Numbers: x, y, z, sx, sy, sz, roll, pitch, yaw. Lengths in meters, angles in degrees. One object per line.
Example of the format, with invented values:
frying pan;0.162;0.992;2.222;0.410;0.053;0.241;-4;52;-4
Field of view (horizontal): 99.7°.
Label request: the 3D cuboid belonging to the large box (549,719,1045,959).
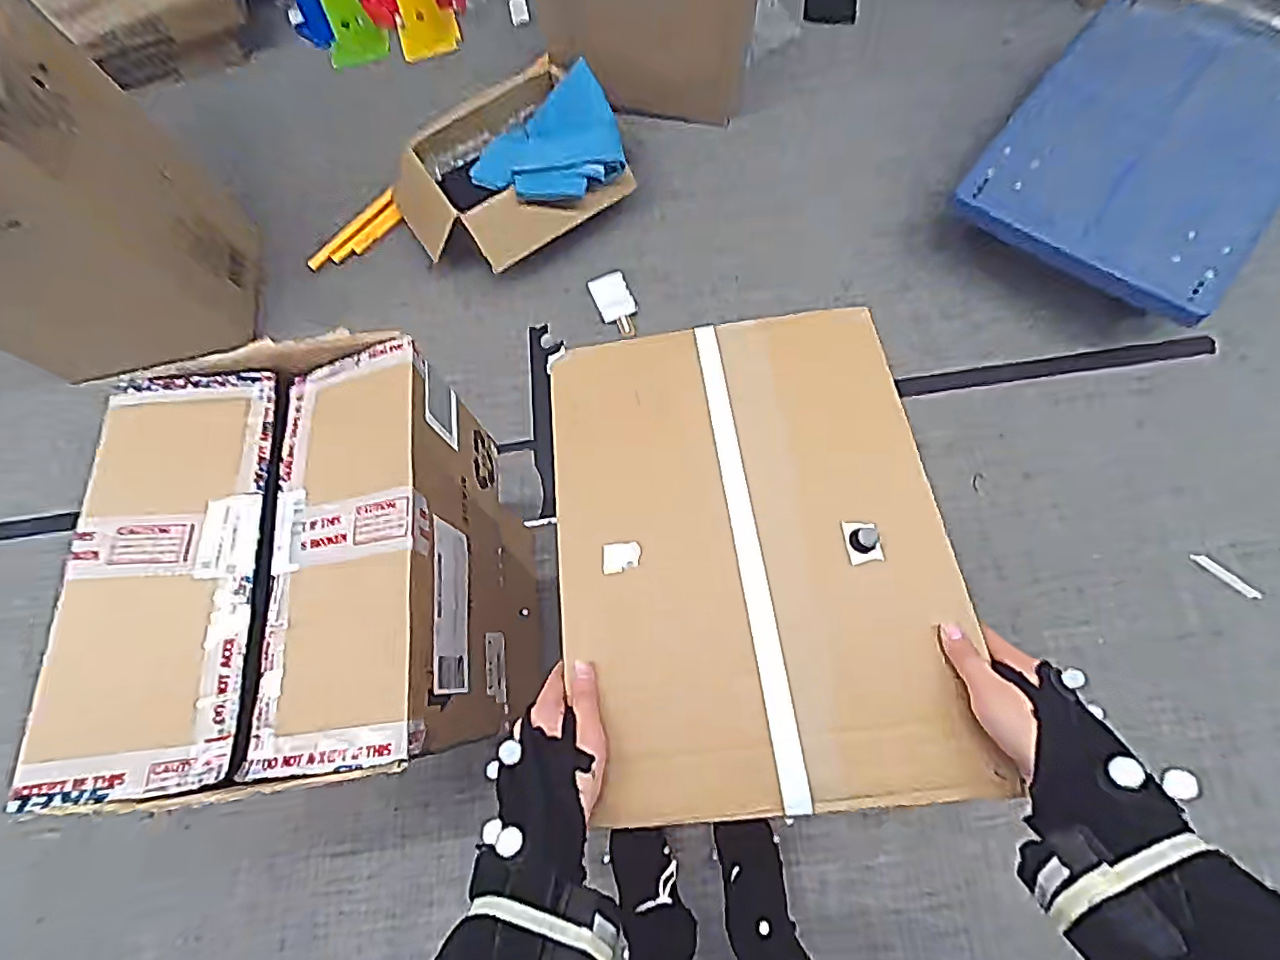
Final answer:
large box;0.084;0.359;0.154;0.320;0.320;0.408;-48;67;5
